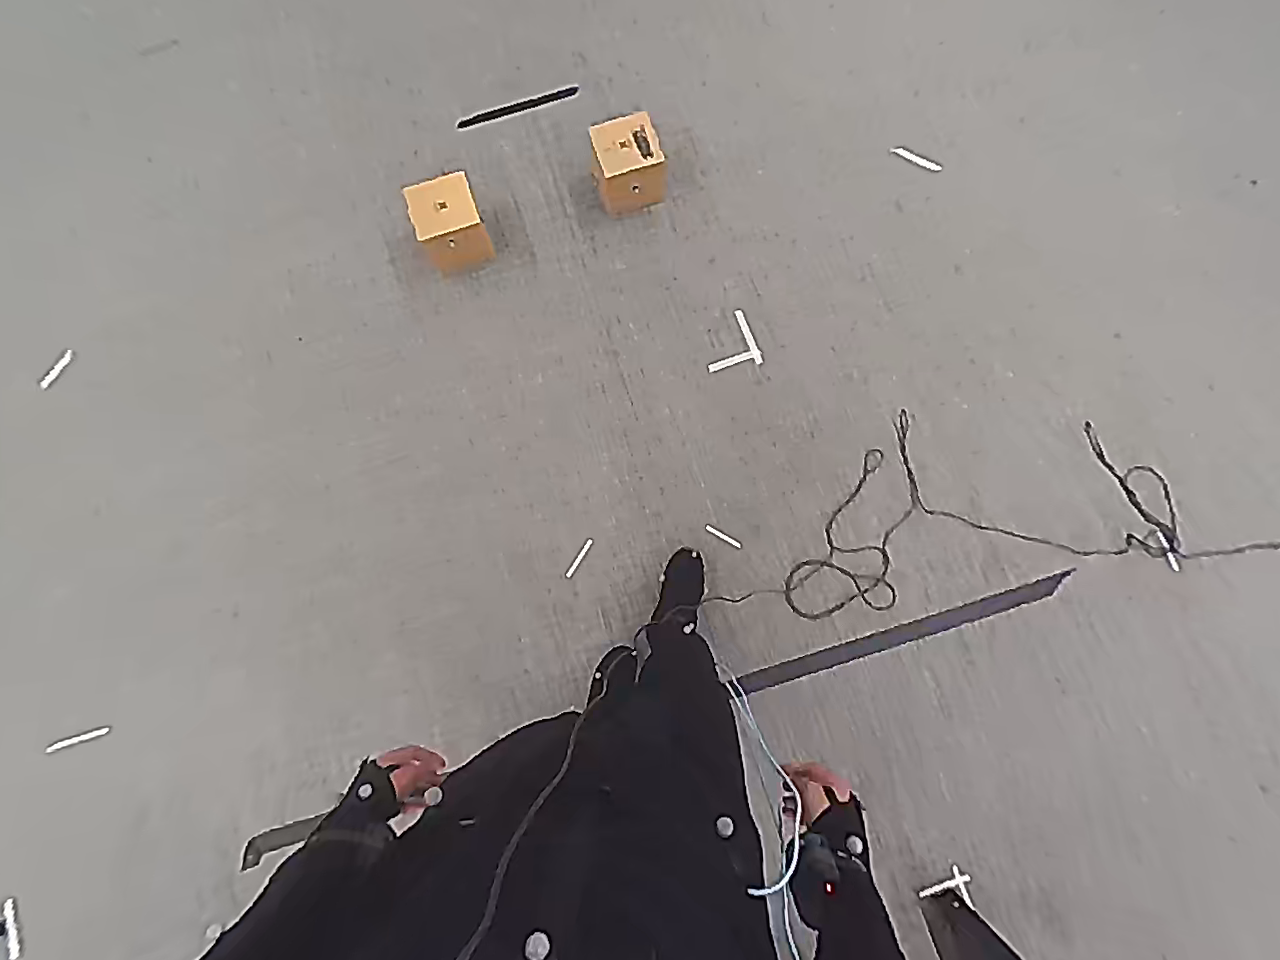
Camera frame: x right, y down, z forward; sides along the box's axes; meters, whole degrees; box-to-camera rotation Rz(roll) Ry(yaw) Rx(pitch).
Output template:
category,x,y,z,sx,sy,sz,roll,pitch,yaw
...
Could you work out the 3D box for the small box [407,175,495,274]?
category,x,y,z,sx,sy,sz,roll,pitch,yaw
small box,-0.525,-0.720,1.536,0.179,0.176,0.168,-19,82,-2
